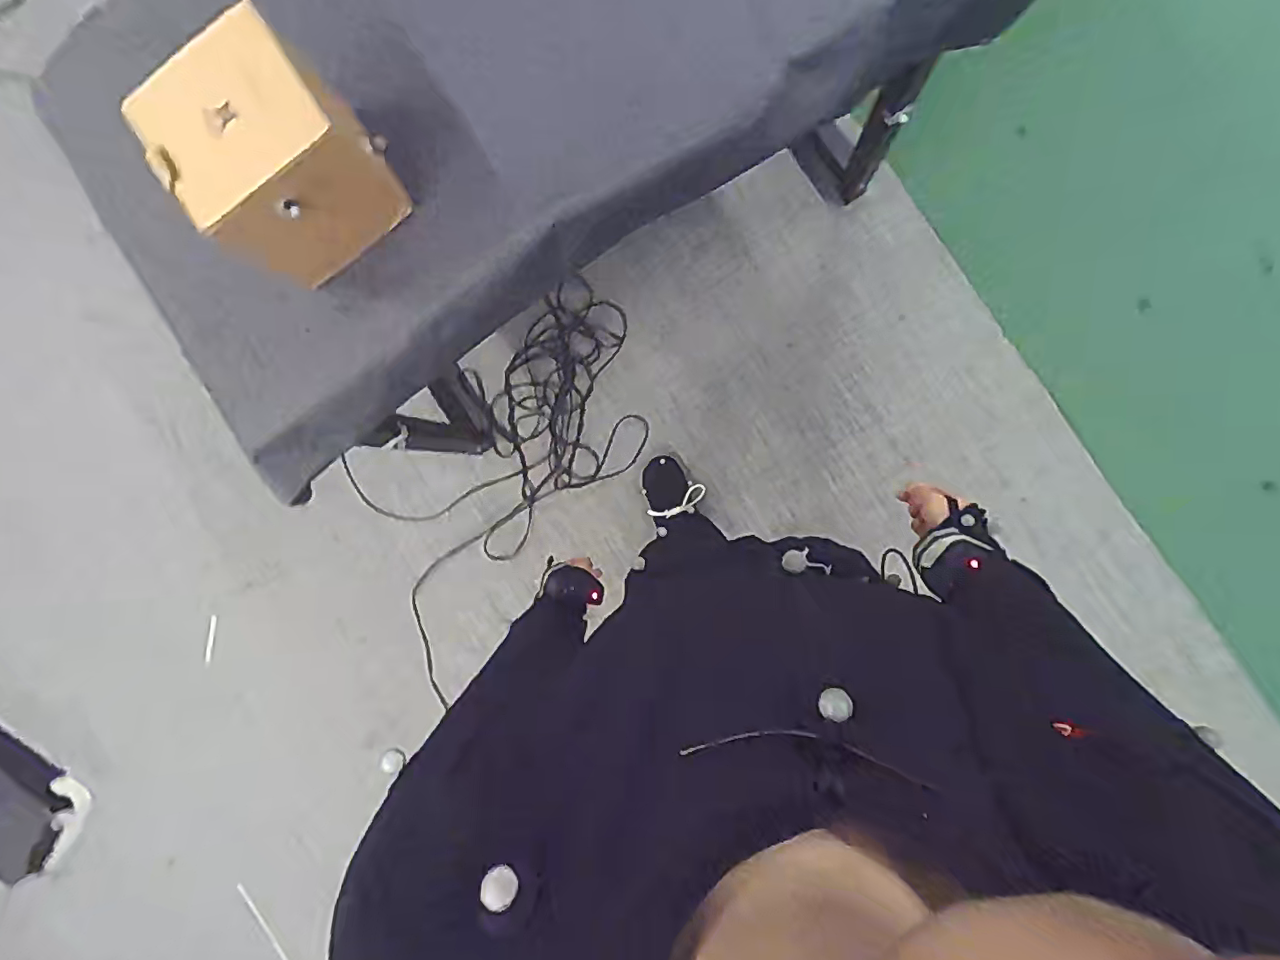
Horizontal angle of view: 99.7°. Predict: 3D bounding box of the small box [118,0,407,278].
[{"bbox_3d":[-0.412,-0.367,0.620,0.179,0.176,0.168,-34,88,5],"label":"small box"}]
